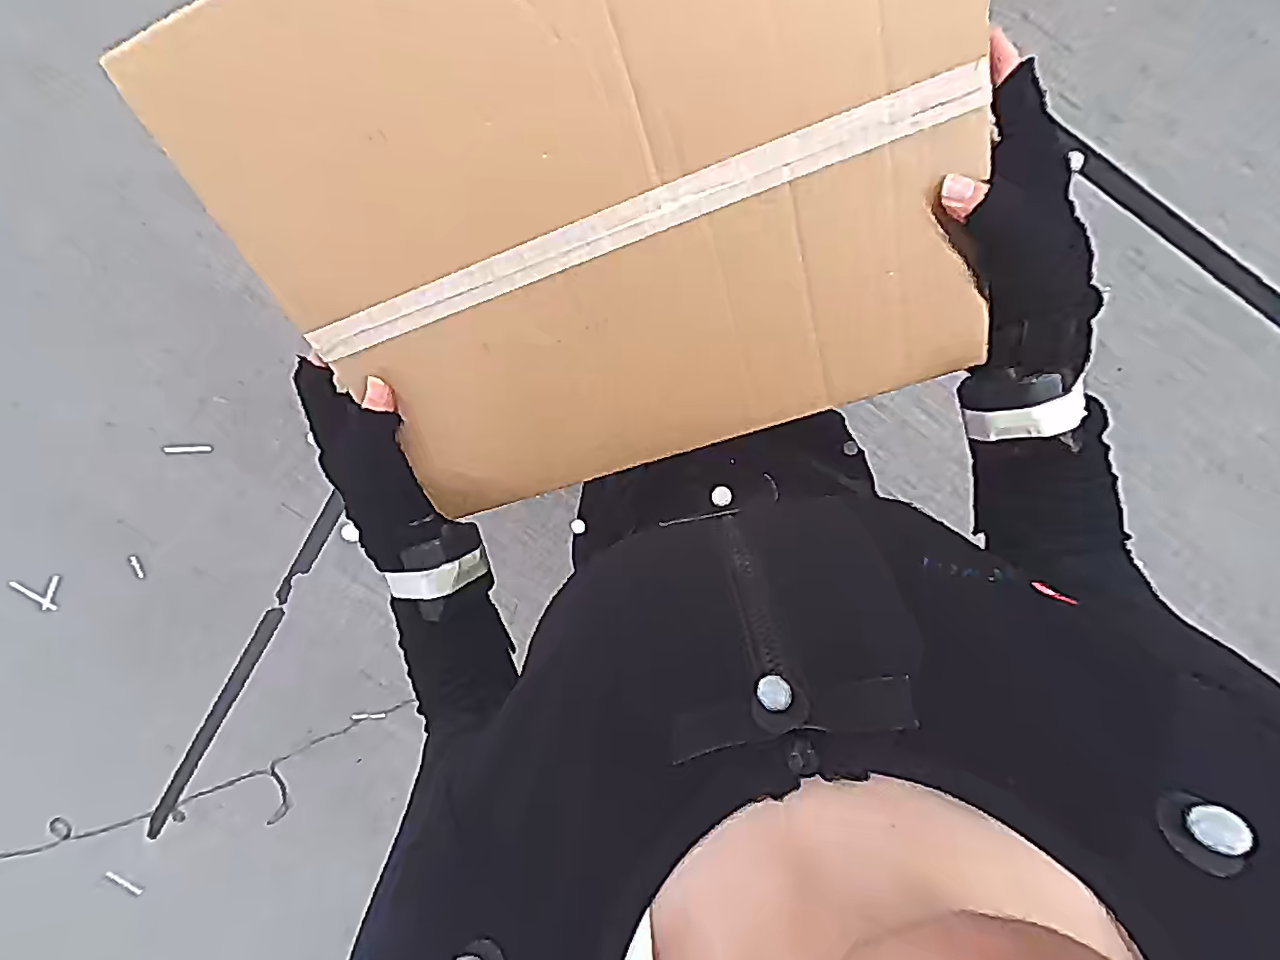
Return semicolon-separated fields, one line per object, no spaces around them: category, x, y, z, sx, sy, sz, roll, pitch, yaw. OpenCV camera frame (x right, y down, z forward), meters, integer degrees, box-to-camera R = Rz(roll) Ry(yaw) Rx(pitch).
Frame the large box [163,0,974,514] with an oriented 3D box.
large box;-0.015;-0.228;0.441;0.408;0.320;0.320;-16;125;12
